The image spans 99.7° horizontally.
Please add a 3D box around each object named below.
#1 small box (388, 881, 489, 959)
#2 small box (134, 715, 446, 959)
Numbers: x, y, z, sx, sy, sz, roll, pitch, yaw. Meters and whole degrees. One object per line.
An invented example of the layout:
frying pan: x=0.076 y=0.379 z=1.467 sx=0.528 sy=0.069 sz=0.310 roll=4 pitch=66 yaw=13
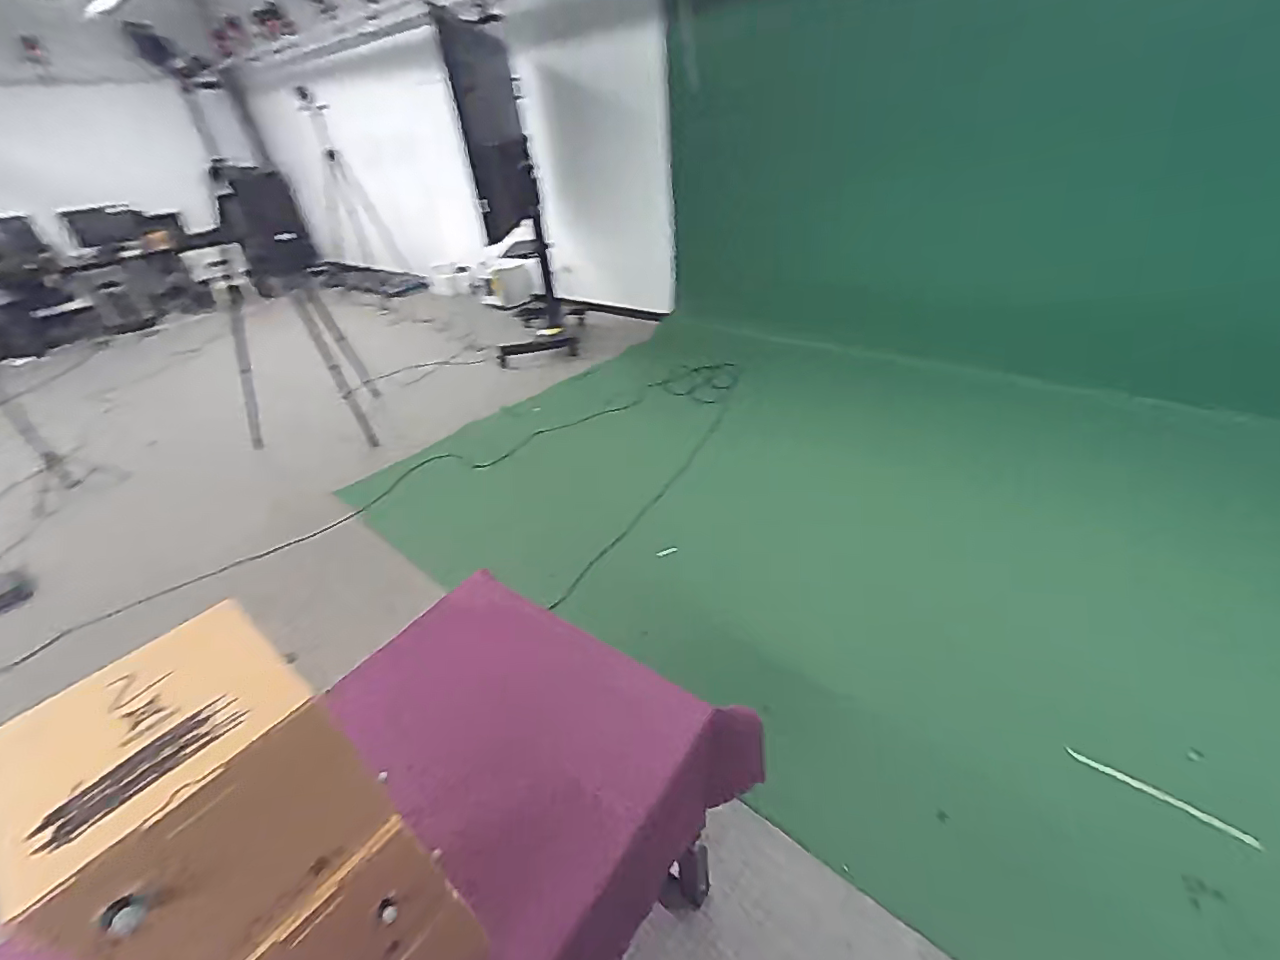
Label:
small box: x=-0.296 y=0.510 z=0.599 sx=0.179 sy=0.176 sz=0.168 roll=19 pitch=41 yaw=34
small box: x=-0.314 y=0.374 z=0.512 sx=0.179 sy=0.176 sz=0.168 roll=21 pitch=42 yaw=35
